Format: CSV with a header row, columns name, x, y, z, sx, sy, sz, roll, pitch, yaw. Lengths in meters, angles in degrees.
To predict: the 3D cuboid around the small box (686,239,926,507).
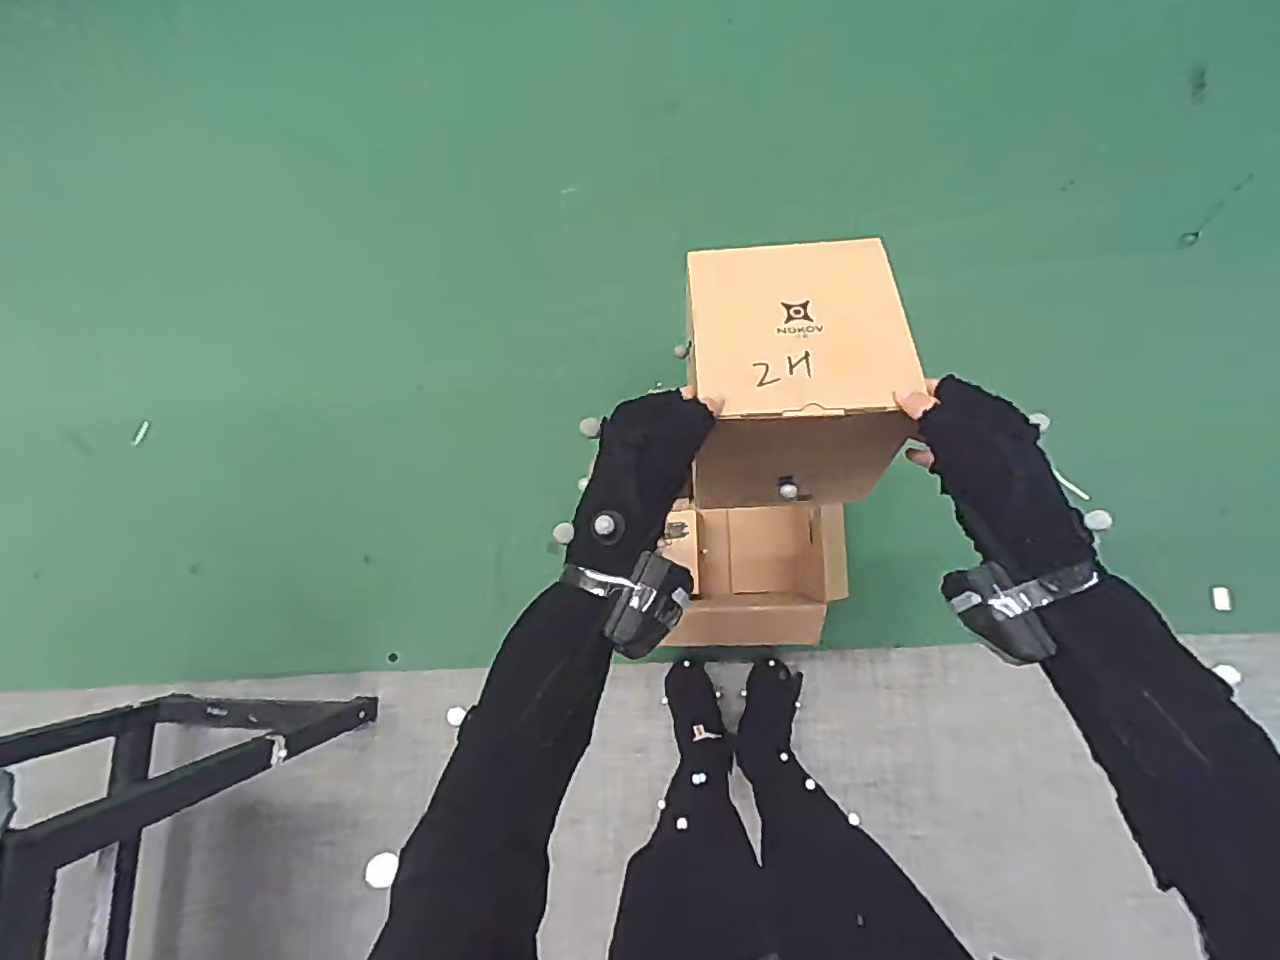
name,x,y,z,sx,sy,sz,roll,pitch,yaw
small box,0.128,-0.089,0.496,0.168,0.176,0.179,-3,63,4
